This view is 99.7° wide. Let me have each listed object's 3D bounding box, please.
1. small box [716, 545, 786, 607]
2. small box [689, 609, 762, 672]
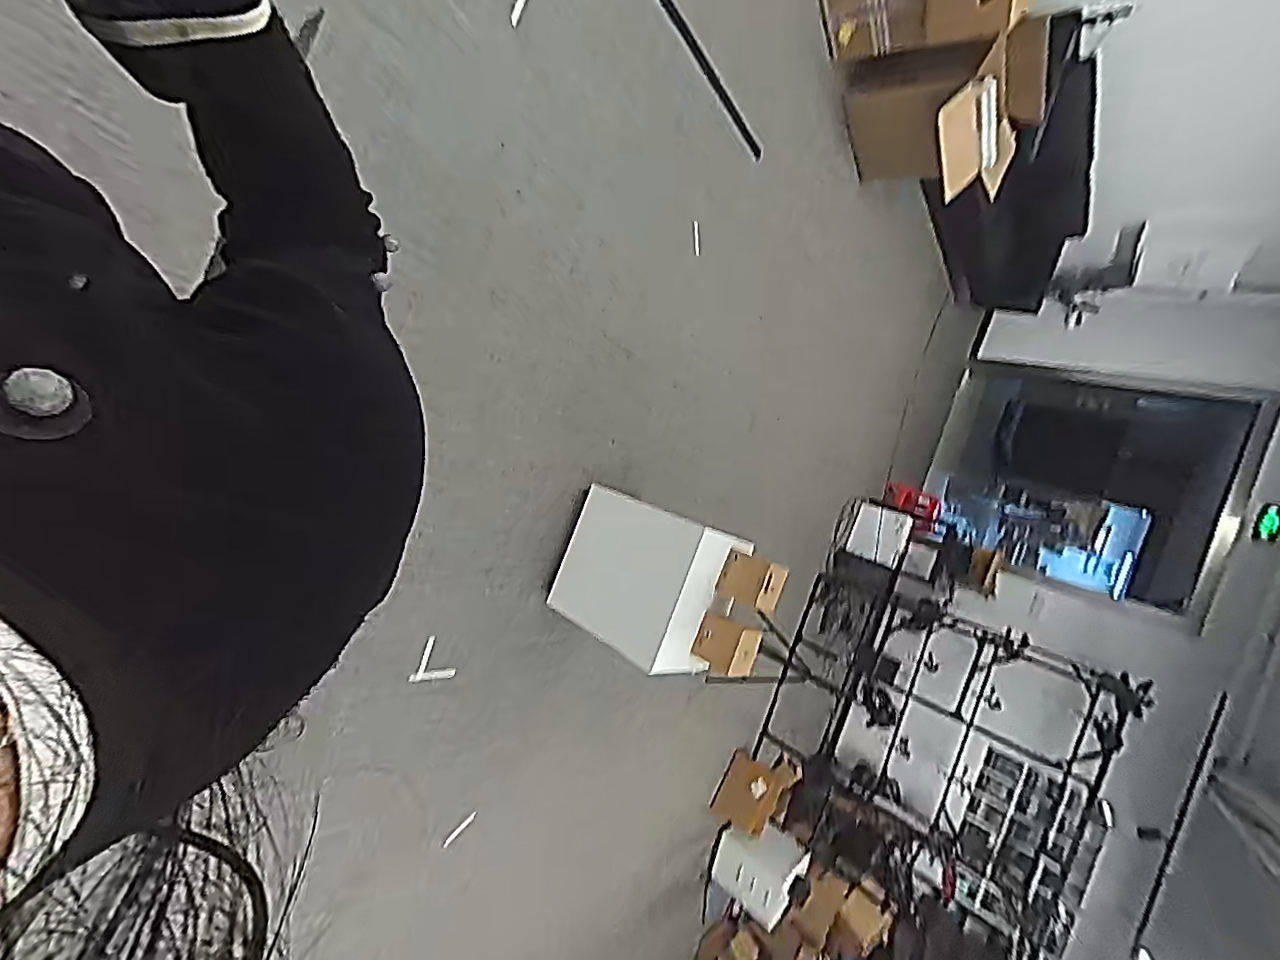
[{"bbox_3d":[0.403,0.348,1.973,0.179,0.176,0.168,25,87,-52],"label":"small box"},{"bbox_3d":[0.310,0.580,1.966,0.179,0.176,0.168,22,87,-50],"label":"small box"}]
